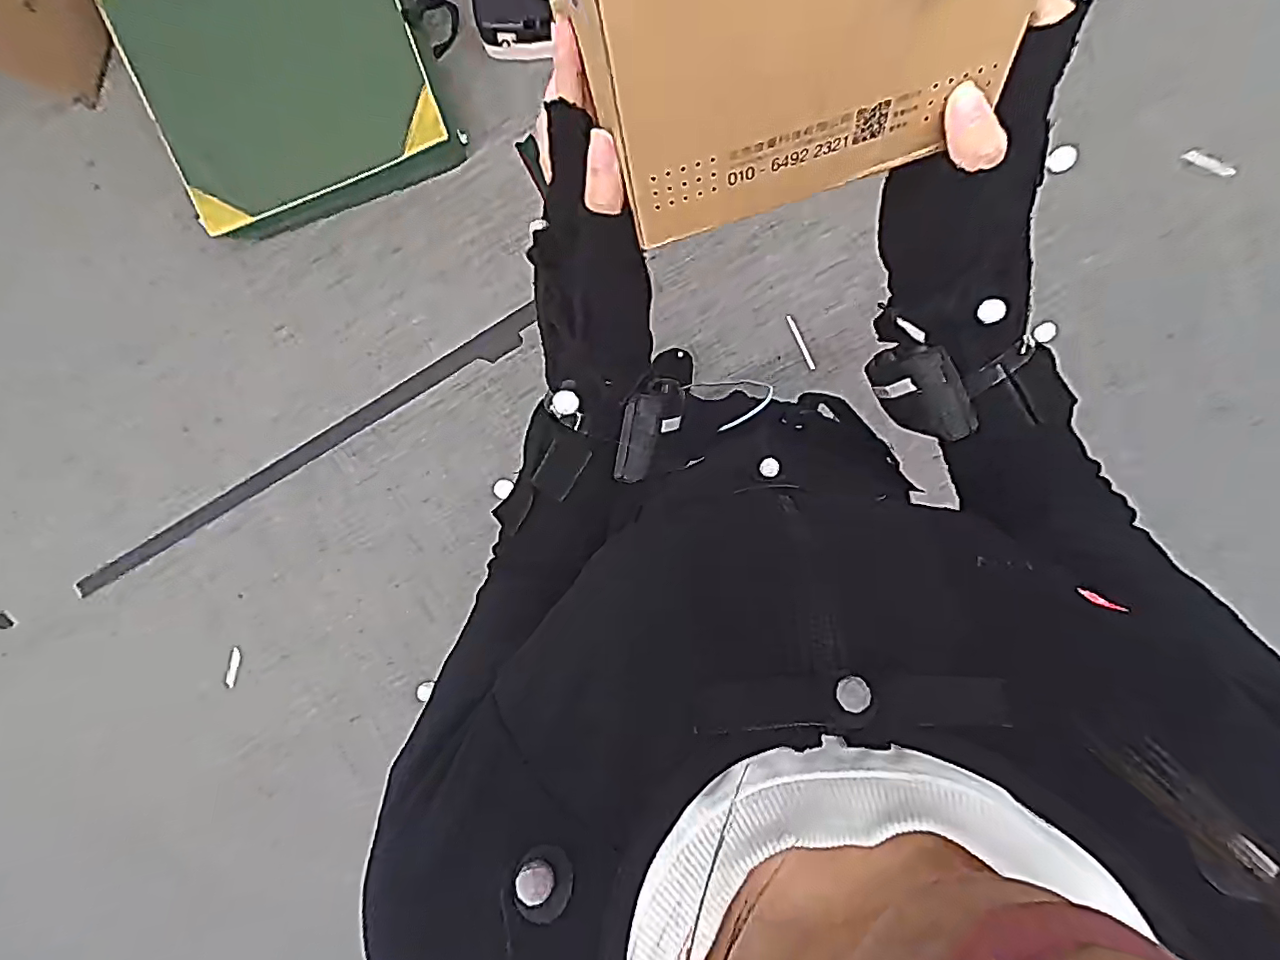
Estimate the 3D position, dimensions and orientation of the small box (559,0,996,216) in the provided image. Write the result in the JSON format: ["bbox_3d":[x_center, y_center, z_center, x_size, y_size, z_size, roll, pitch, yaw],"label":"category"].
[{"bbox_3d":[0.046,-0.245,0.238,0.168,0.176,0.179,-17,60,0],"label":"small box"}]
